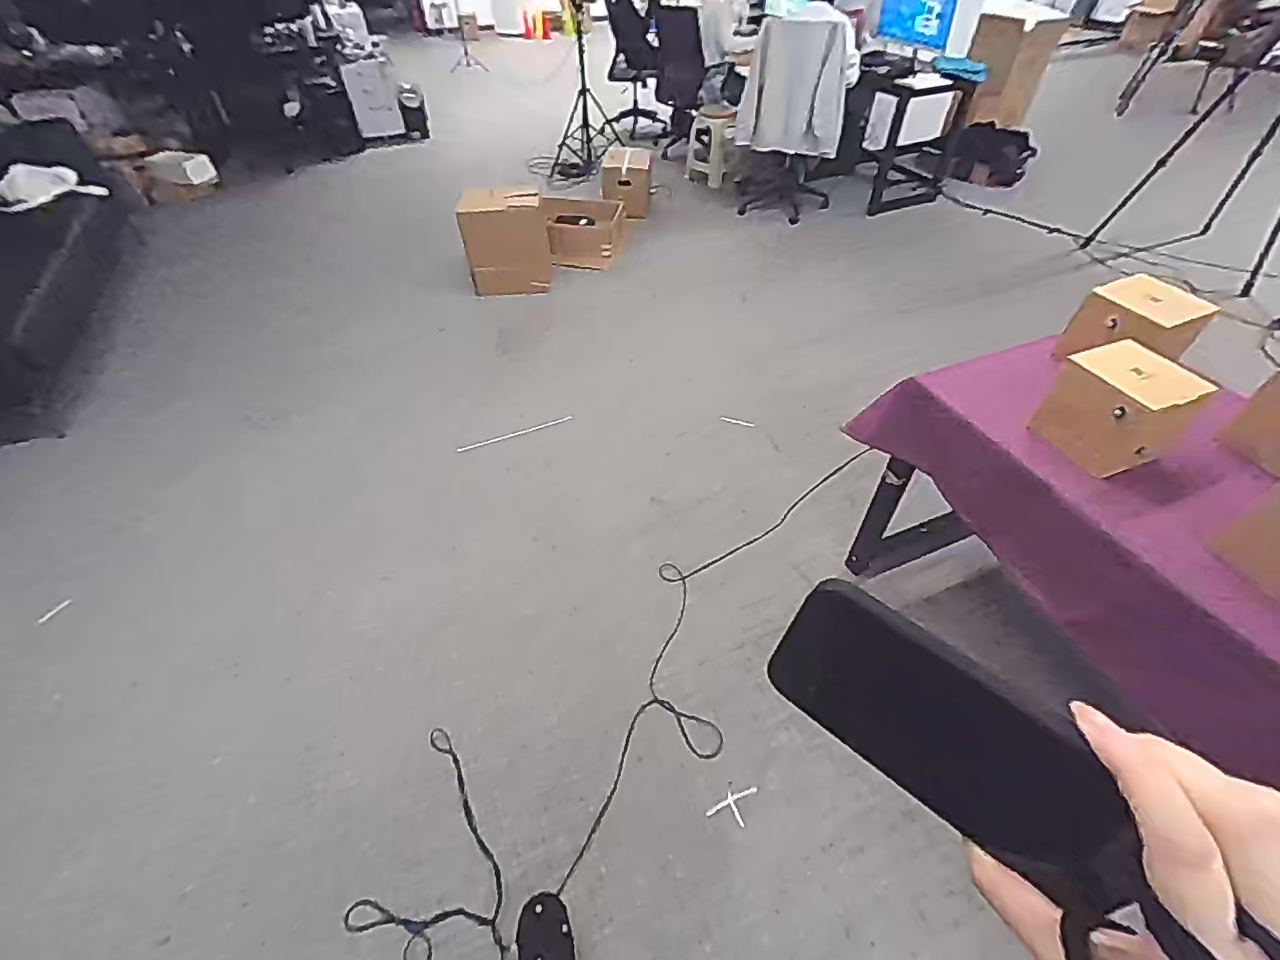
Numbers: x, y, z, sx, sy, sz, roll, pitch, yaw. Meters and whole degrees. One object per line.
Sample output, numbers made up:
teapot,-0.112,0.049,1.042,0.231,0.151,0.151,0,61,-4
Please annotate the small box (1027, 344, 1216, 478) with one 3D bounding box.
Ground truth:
small box,0.905,-0.133,1.039,0.168,0.176,0.179,-16,49,-14

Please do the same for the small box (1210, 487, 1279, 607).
small box,1.051,0.098,0.816,0.168,0.176,0.179,-15,49,-12
